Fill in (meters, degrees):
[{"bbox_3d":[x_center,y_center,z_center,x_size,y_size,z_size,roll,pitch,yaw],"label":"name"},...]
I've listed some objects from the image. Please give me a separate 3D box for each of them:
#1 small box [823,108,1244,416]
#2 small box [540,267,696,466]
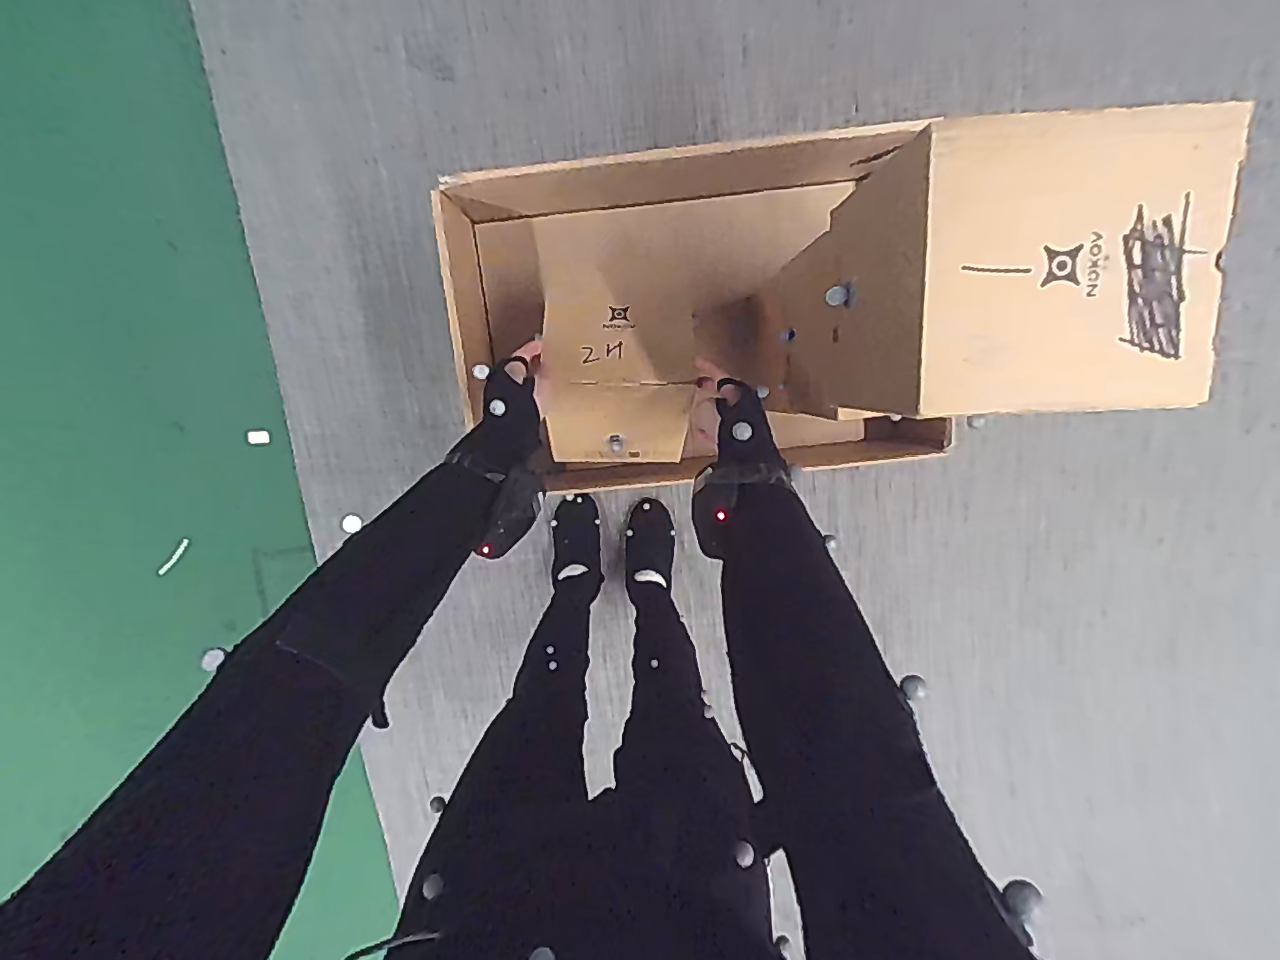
[{"bbox_3d":[0.247,-0.135,0.389,0.179,0.176,0.168,-2,99,2],"label":"small box"},{"bbox_3d":[-0.026,-0.135,0.669,0.168,0.176,0.179,0,61,-2],"label":"small box"}]
